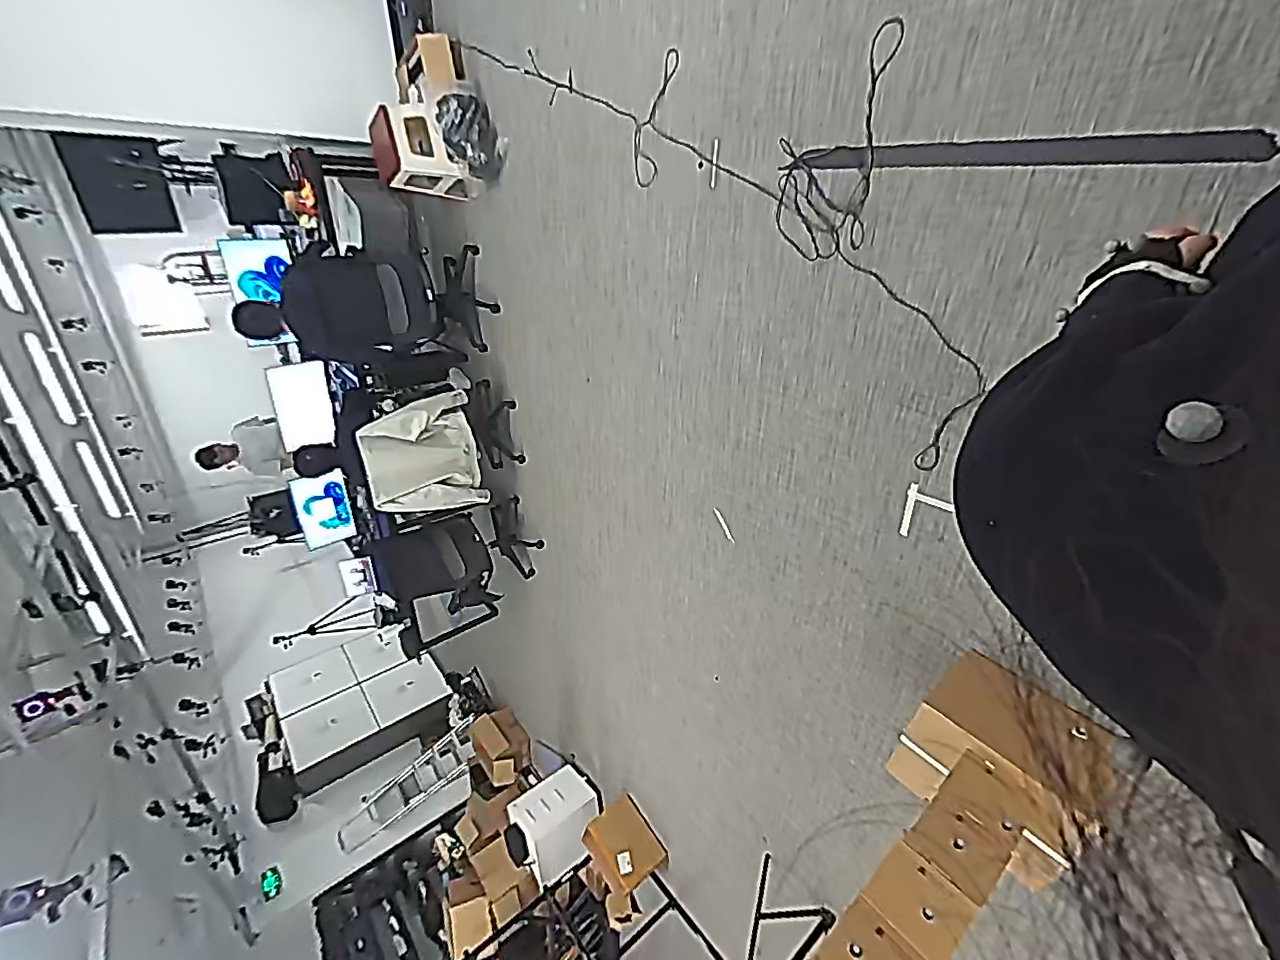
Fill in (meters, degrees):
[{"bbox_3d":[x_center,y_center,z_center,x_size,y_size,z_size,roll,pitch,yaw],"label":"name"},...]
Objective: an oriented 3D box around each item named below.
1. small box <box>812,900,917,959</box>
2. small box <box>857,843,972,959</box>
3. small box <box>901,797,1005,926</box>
[{"bbox_3d":[0.415,0.941,1.001,0.168,0.176,0.179,32,132,42],"label":"small box"},{"bbox_3d":[0.539,0.890,1.093,0.168,0.176,0.179,32,131,41],"label":"small box"},{"bbox_3d":[0.665,0.848,1.187,0.168,0.176,0.179,35,131,40],"label":"small box"}]
